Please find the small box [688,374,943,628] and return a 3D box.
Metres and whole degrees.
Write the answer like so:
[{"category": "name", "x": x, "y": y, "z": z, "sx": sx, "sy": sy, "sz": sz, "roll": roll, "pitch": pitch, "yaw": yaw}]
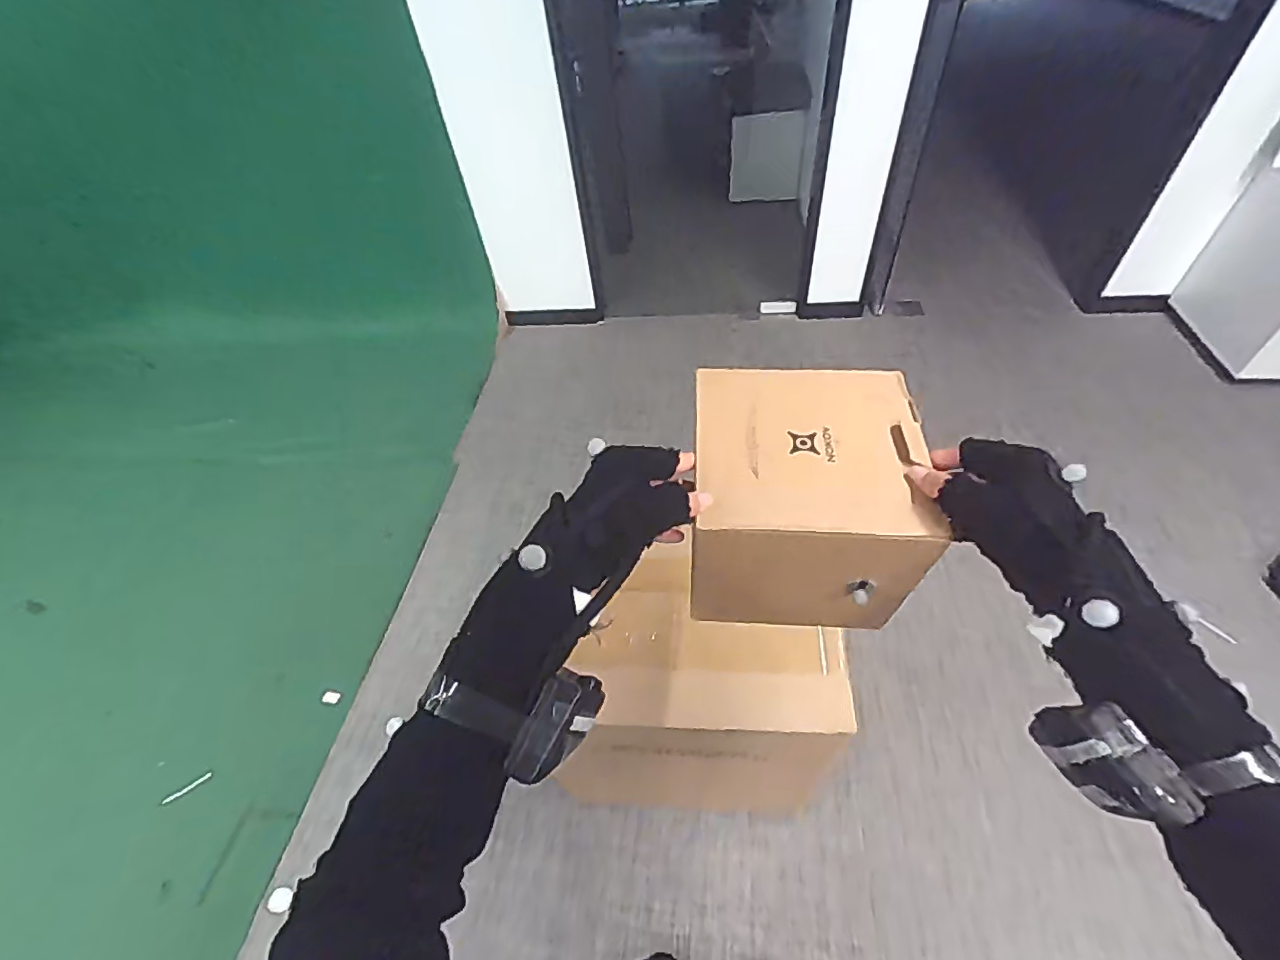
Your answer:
[{"category": "small box", "x": 0.133, "y": 0.024, "z": 0.487, "sx": 0.179, "sy": 0.176, "sz": 0.168, "roll": -1, "pitch": 52, "yaw": 6}]
